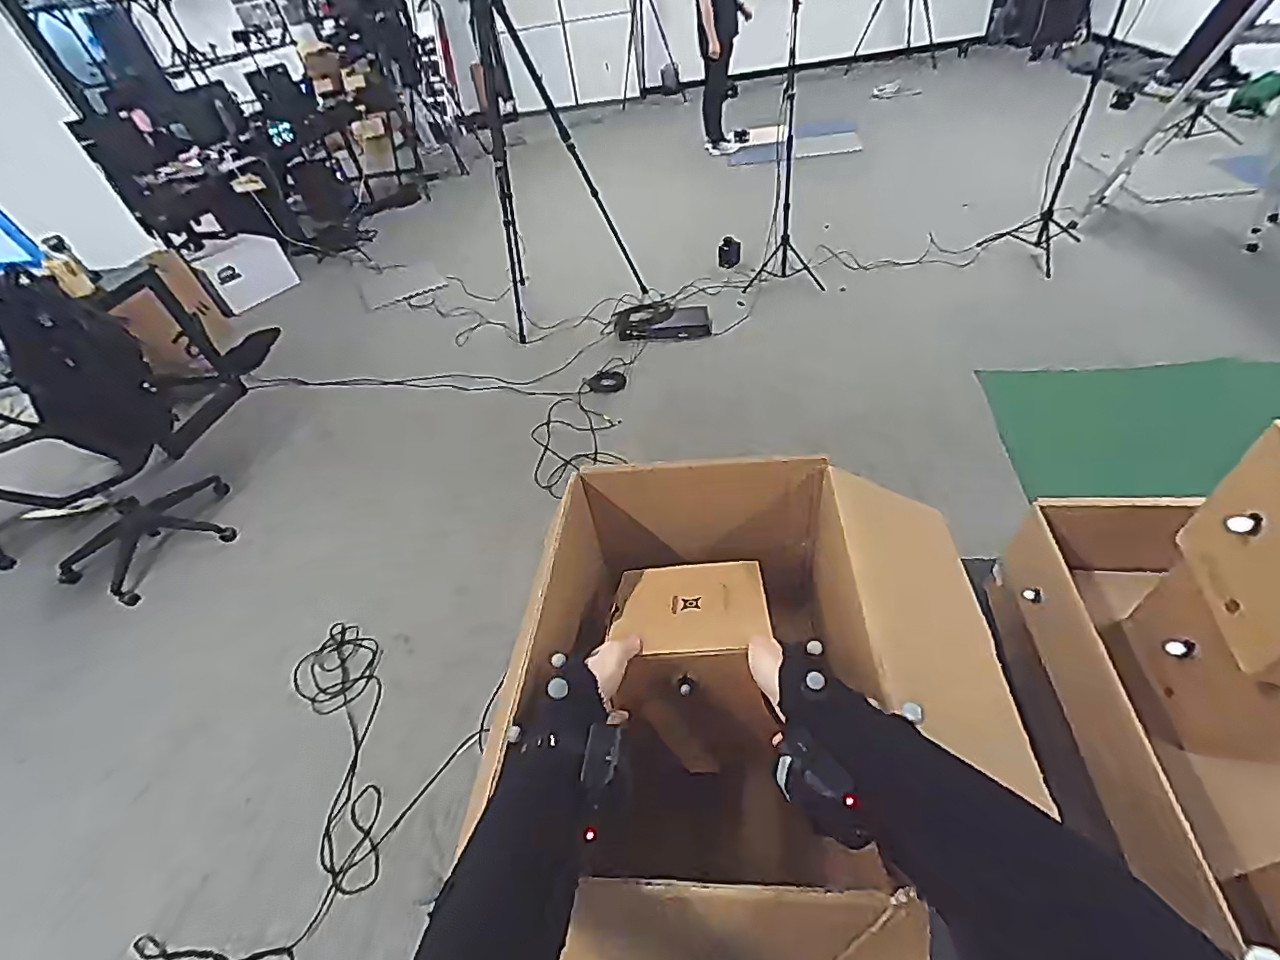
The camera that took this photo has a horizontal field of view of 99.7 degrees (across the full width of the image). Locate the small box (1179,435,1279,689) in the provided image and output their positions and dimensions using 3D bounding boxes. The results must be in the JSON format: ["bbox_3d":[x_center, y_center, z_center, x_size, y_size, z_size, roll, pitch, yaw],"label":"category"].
[{"bbox_3d":[0.626,0.082,0.465,0.179,0.176,0.168,6,47,16],"label":"small box"}]
